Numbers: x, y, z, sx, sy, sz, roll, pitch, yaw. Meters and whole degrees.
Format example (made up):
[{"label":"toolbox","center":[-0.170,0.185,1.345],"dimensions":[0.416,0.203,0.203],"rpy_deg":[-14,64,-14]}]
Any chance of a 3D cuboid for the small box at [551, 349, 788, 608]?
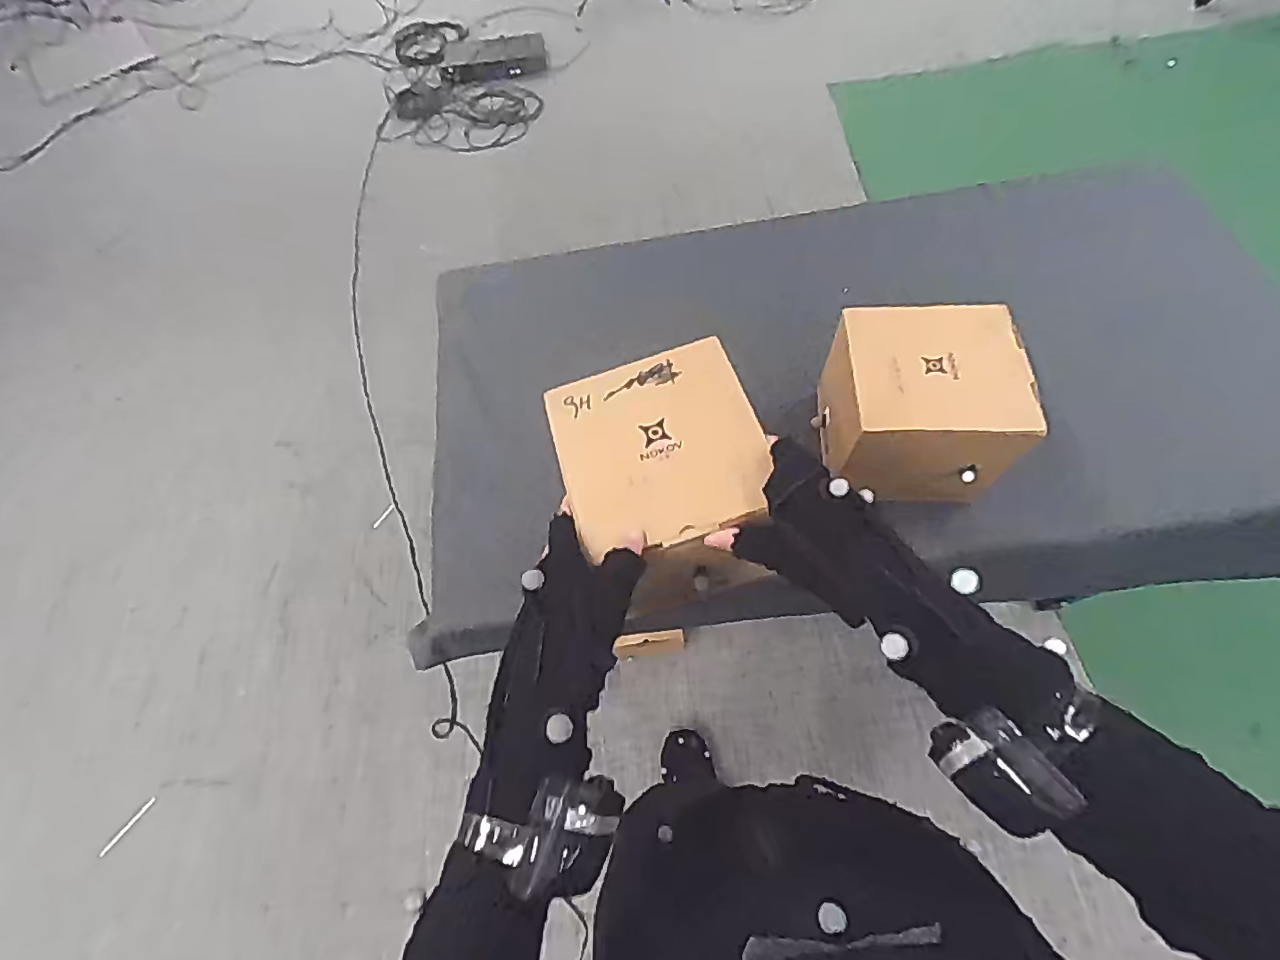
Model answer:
[{"label":"small box","center":[0.030,0.012,0.521],"dimensions":[0.168,0.176,0.179],"rpy_deg":[-17,62,1]}]
